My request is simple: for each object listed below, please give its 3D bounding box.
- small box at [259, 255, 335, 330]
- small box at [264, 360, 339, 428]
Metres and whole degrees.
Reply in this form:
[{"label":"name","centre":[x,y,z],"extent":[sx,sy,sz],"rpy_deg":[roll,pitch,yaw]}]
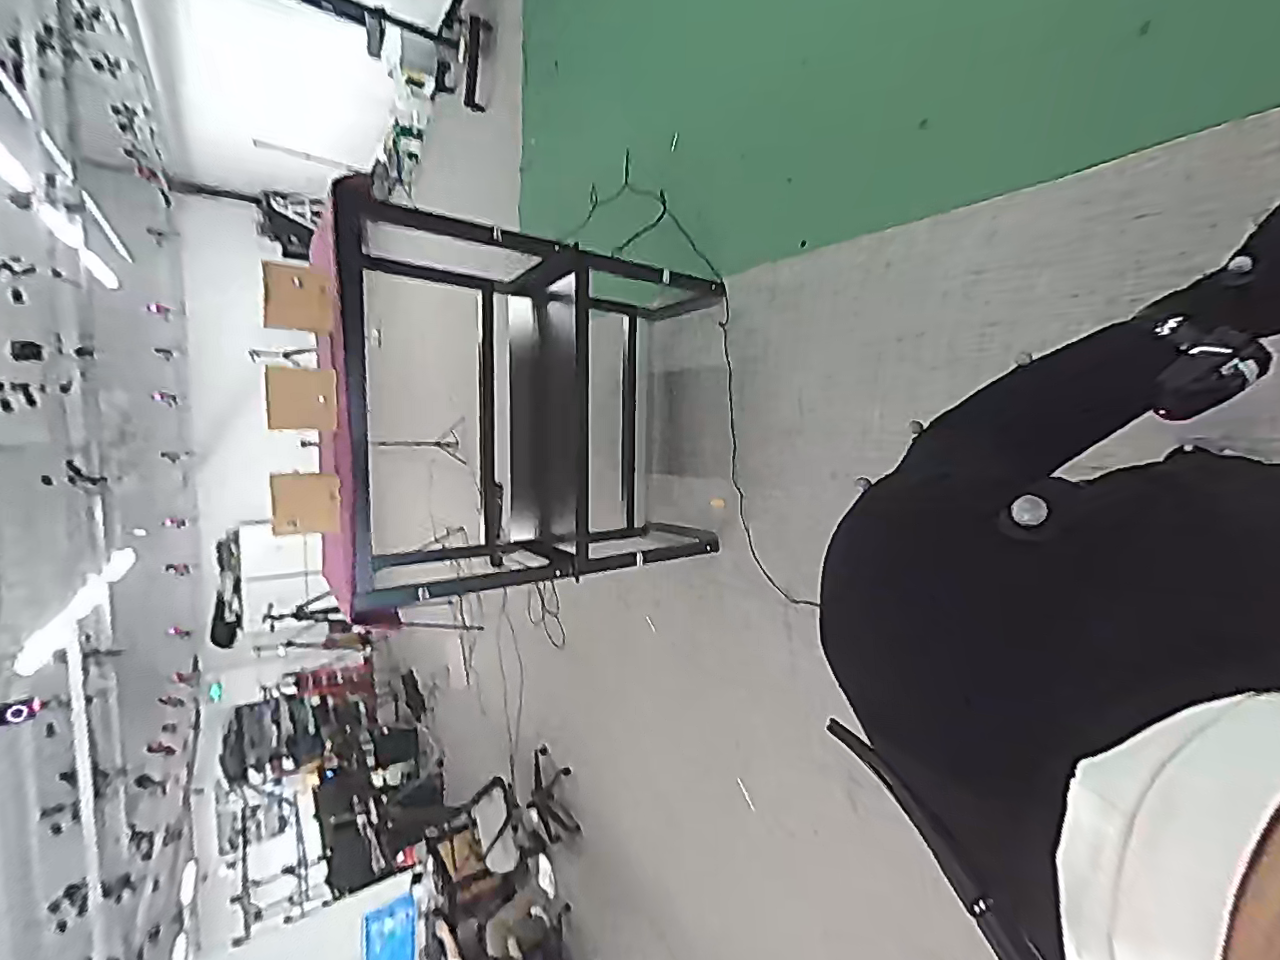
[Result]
[{"label":"small box","centre":[-0.960,-0.518,1.517],"extent":[0.179,0.176,0.168],"rpy_deg":[14,103,53]},{"label":"small box","centre":[-0.965,-0.239,1.540],"extent":[0.168,0.176,0.179],"rpy_deg":[8,98,55]}]
